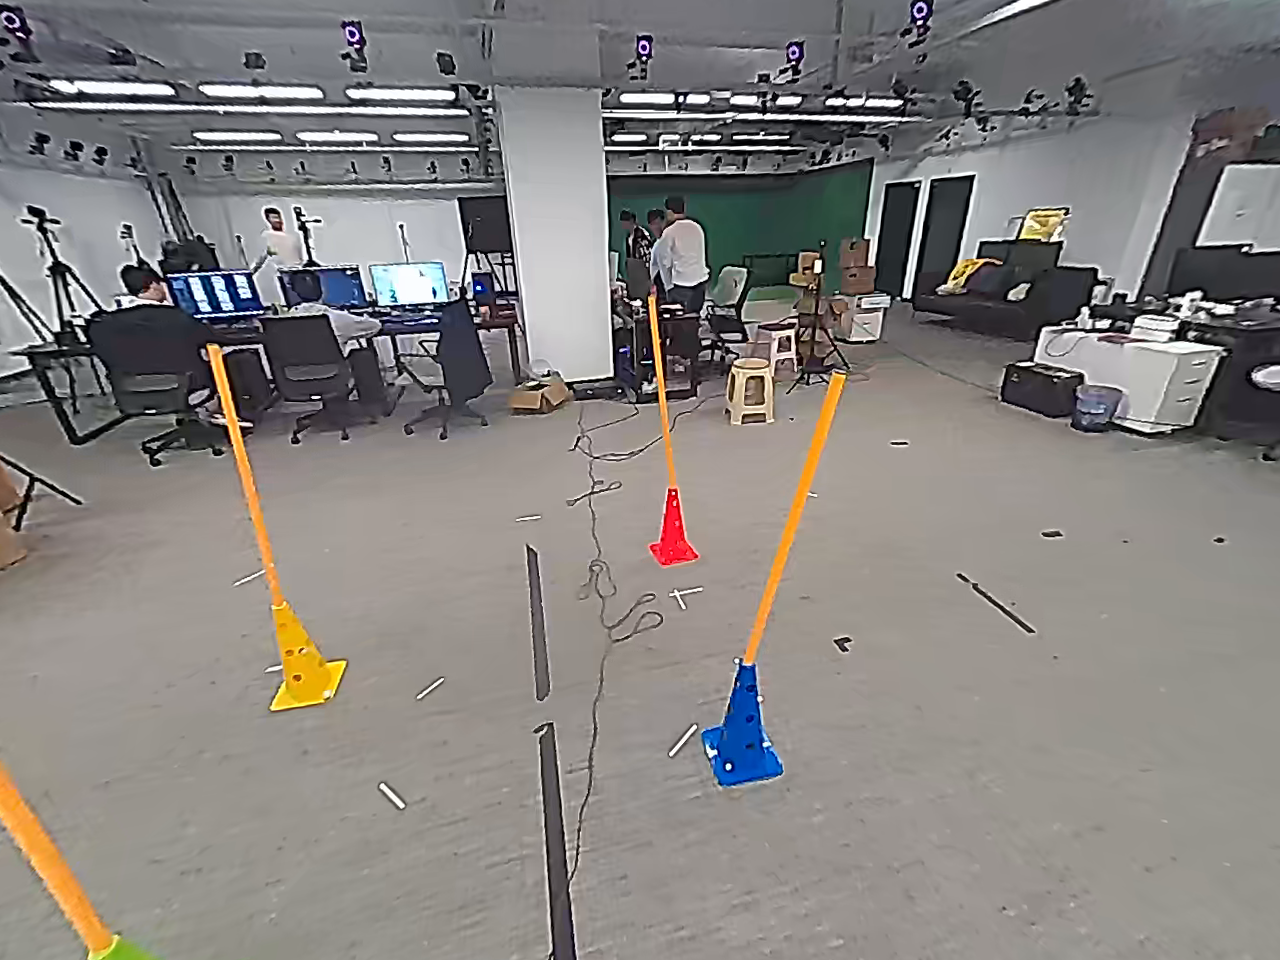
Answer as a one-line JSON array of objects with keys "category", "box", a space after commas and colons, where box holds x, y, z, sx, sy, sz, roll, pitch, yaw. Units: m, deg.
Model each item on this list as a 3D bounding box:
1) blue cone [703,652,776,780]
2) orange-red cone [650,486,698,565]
[{"category": "blue cone", "box": [0.296, 0.665, 1.571, 0.193, 0.380, 0.192, -6, 24, -9]}, {"category": "orange-red cone", "box": [0.158, 0.194, 2.567, 0.199, 0.360, 0.198, -11, 26, -15]}]
